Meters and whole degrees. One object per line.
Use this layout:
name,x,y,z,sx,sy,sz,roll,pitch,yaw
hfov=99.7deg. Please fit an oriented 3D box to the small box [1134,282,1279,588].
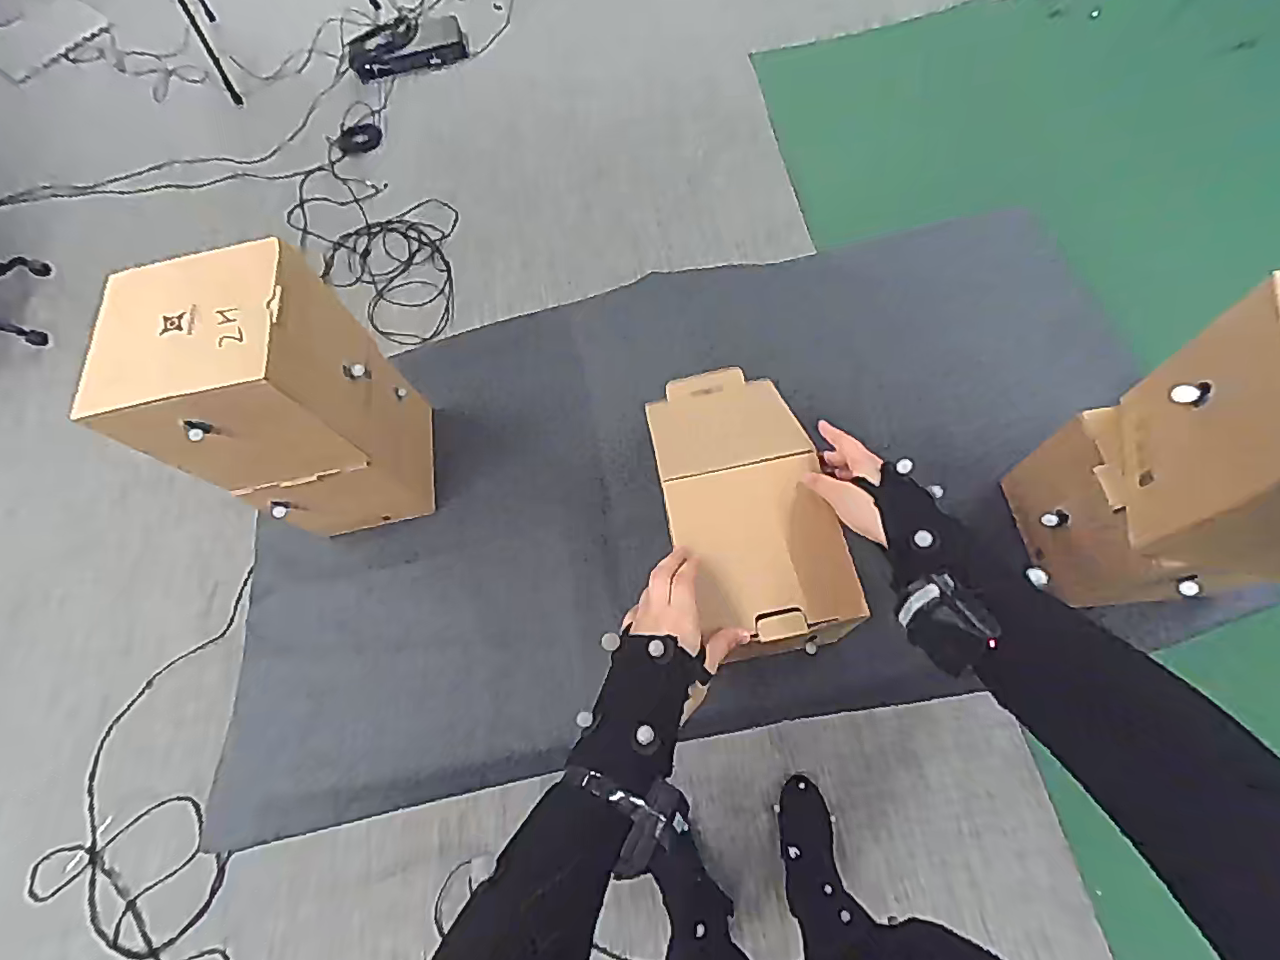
small box,0.522,-0.019,0.409,0.179,0.176,0.168,13,67,13

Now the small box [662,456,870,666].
small box,0.125,0.100,0.593,0.168,0.176,0.179,-12,64,2

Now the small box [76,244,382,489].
small box,-0.398,-0.104,0.559,0.179,0.176,0.168,-11,68,2

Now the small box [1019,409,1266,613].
small box,0.536,0.035,0.563,0.179,0.176,0.168,-7,64,5
